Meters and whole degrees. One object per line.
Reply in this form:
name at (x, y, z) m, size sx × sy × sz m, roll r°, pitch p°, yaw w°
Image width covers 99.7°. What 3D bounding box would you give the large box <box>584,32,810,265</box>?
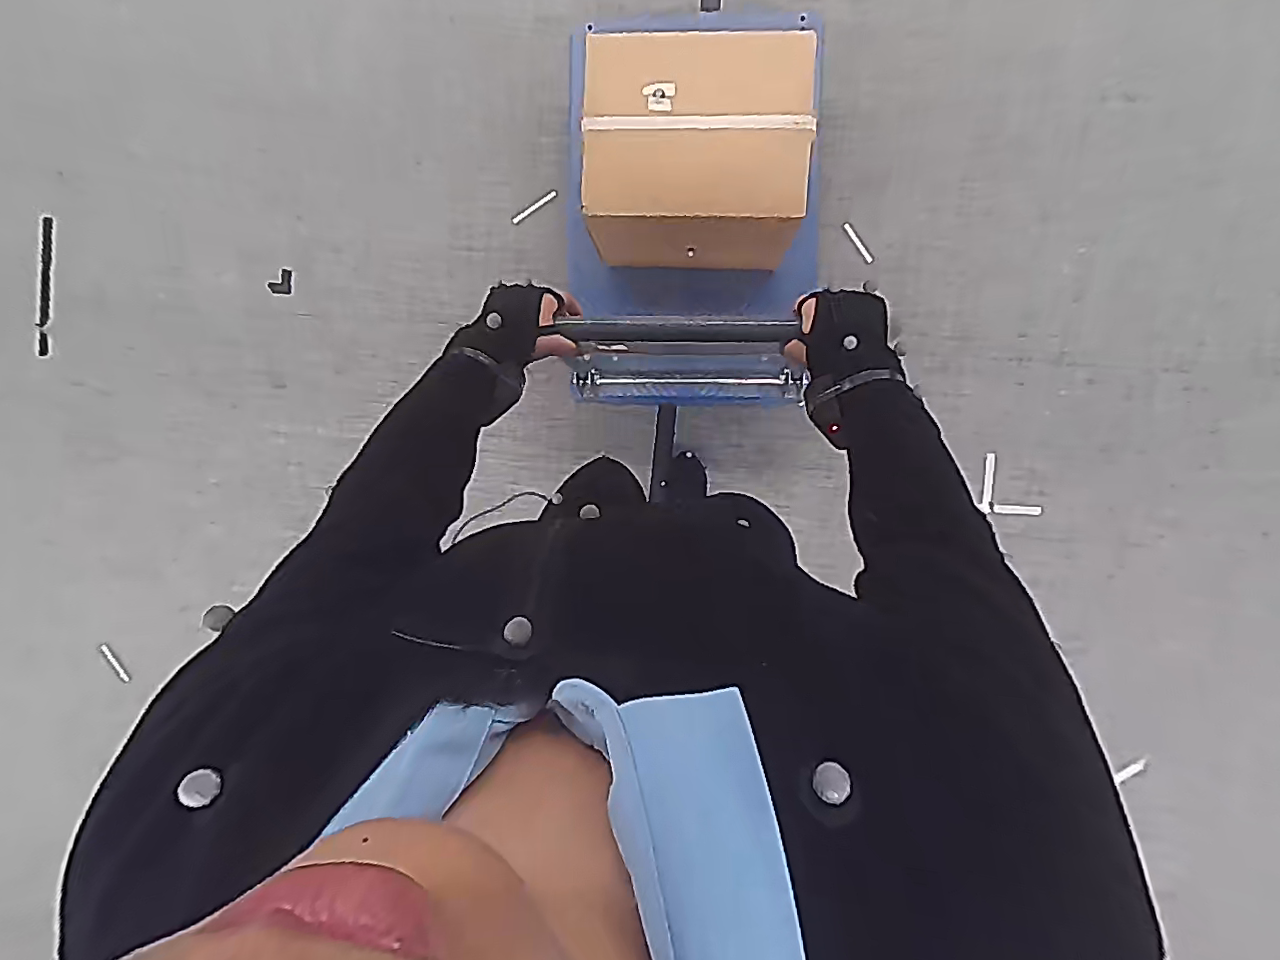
large box at (0.113, -0.647, 1.118) m, size 0.408 × 0.320 × 0.320 m, roll 3°, pitch 94°, yaw 5°
